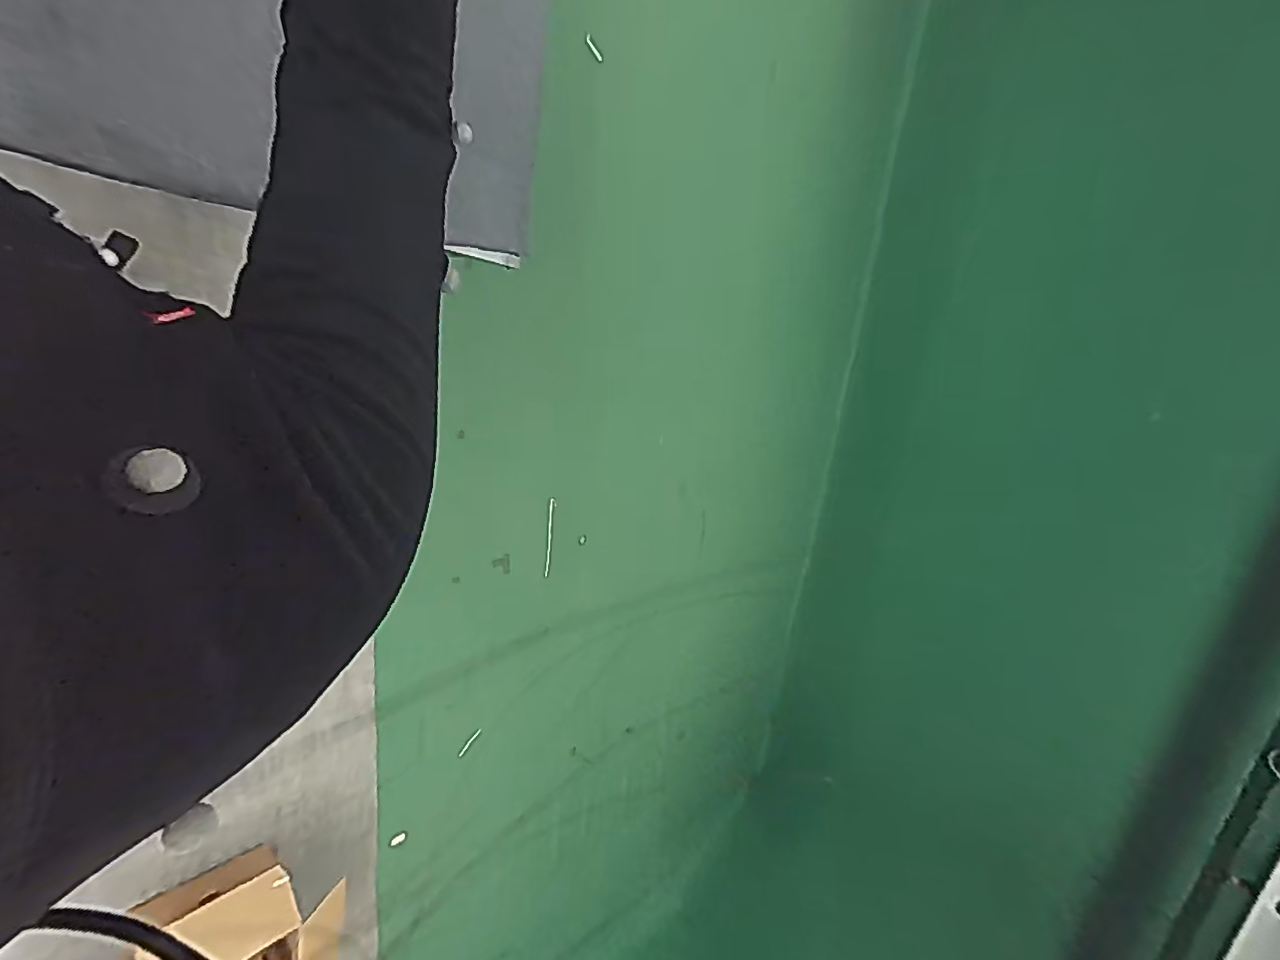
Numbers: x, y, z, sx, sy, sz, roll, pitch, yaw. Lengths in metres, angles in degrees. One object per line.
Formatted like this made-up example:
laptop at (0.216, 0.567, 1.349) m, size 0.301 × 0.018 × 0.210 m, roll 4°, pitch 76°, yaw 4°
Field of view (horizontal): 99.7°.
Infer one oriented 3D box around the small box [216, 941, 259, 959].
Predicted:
small box at (-1.030, 1.301, 1.315) m, size 0.179 × 0.176 × 0.168 m, roll -4°, pitch 109°, yaw -48°
